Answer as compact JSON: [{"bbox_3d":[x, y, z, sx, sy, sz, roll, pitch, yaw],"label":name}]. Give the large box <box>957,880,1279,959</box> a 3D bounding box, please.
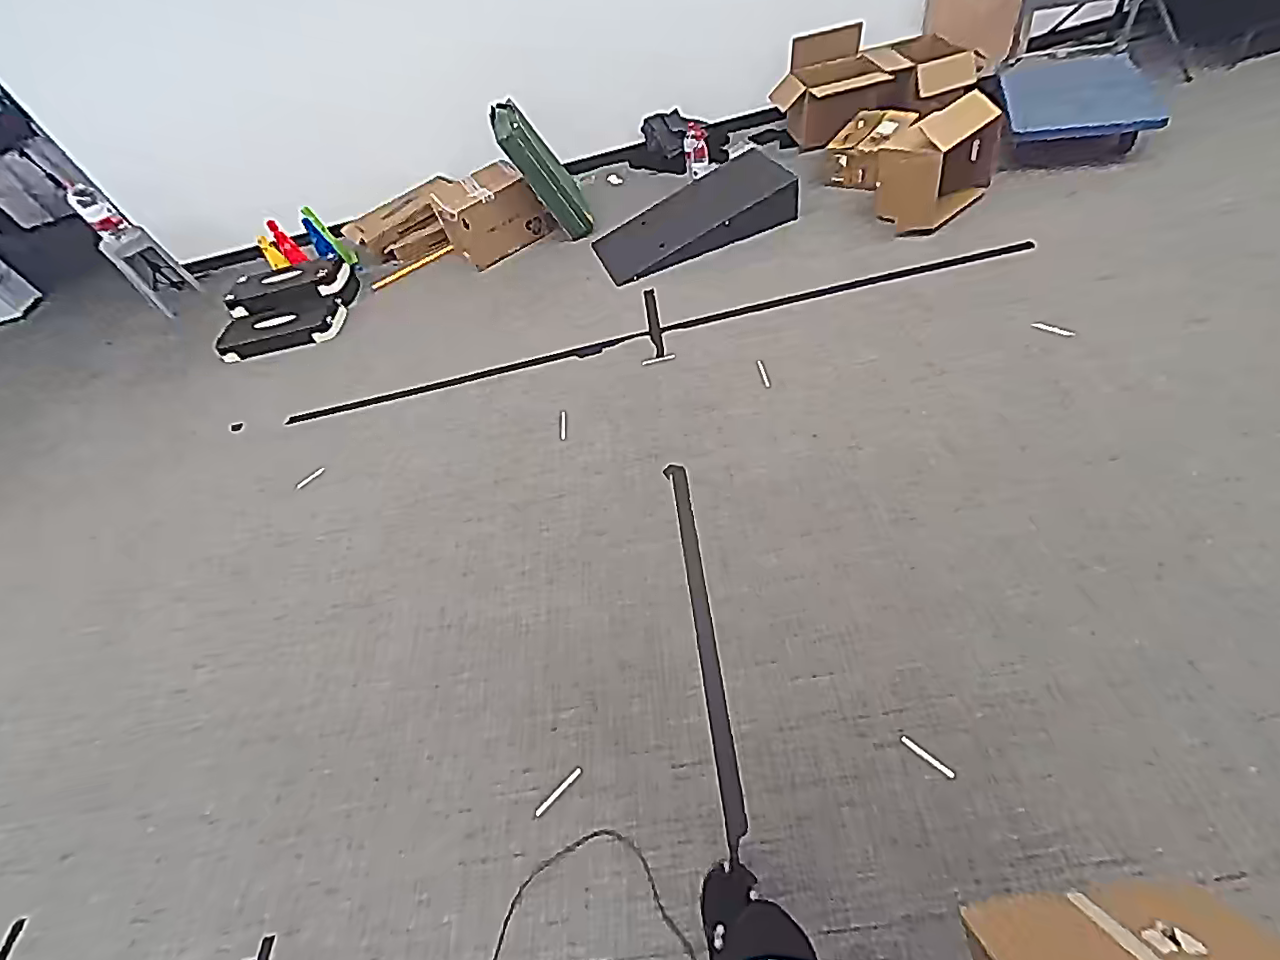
[{"bbox_3d":[0.615,0.700,0.560,0.320,0.408,0.320,-12,74,7],"label":"large box"}]
